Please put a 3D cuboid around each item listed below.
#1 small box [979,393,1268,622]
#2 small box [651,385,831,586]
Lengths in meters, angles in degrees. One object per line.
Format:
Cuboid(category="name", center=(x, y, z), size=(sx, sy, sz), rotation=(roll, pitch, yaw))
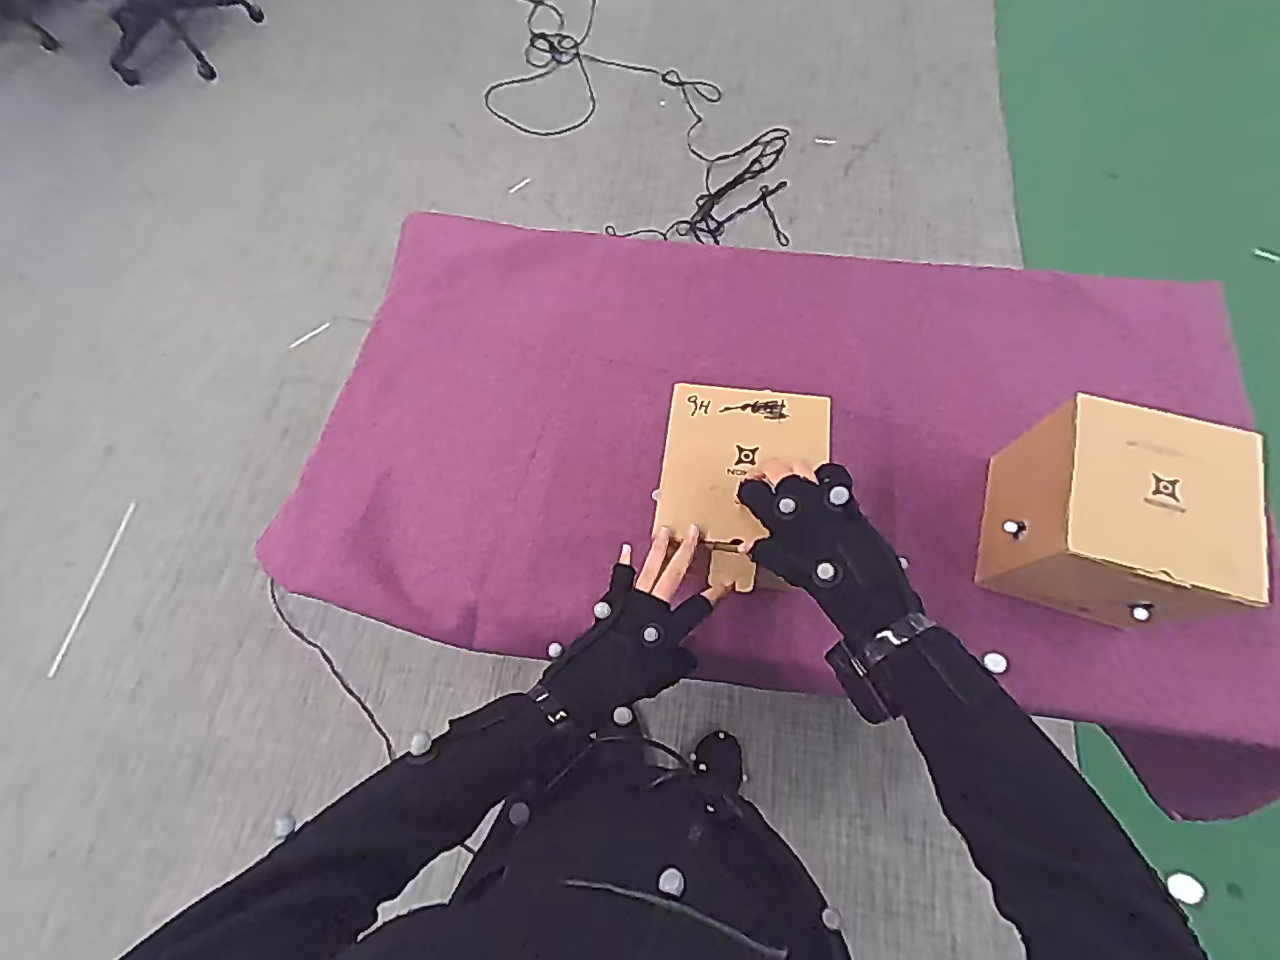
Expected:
Cuboid(category="small box", center=(0.495, 0.039, 0.579), size=(0.168, 0.176, 0.179), rotation=(17, 71, 10))
Cuboid(category="small box", center=(0.110, 0.015, 0.618), size=(0.168, 0.176, 0.179), rotation=(7, 70, 7))
